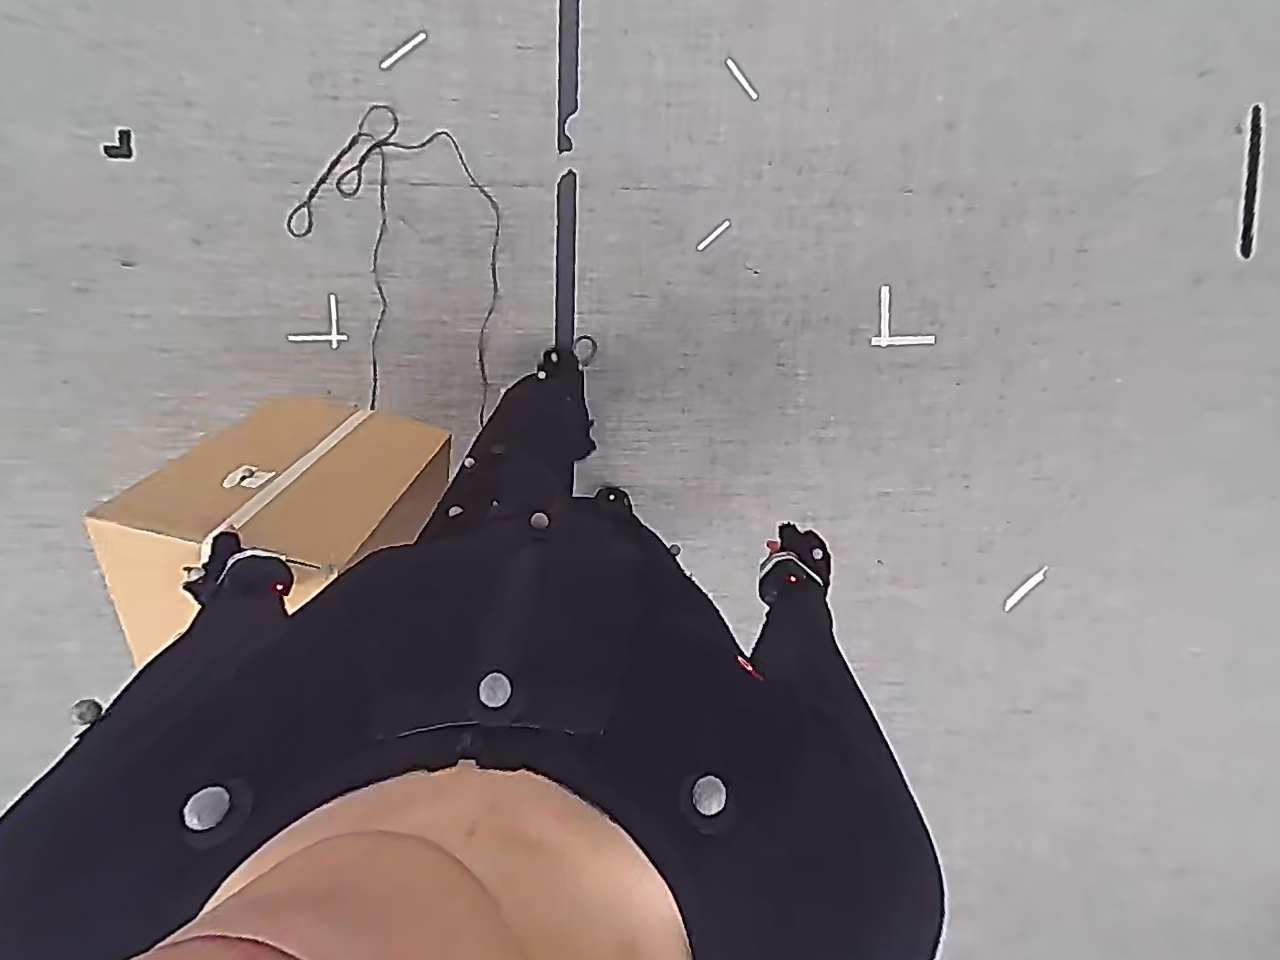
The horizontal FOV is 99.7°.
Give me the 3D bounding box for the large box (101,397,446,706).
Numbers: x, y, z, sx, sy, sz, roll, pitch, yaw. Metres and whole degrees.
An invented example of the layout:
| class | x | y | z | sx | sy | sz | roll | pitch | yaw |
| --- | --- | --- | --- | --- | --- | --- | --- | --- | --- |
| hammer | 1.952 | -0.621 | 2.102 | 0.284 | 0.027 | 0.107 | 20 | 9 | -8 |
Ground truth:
| class | x | y | z | sx | sy | sz | roll | pitch | yaw |
| --- | --- | --- | --- | --- | --- | --- | --- | --- | --- |
| large box | -0.562 | 0.103 | 0.938 | 0.320 | 0.408 | 0.320 | 13 | 121 | -3 |
